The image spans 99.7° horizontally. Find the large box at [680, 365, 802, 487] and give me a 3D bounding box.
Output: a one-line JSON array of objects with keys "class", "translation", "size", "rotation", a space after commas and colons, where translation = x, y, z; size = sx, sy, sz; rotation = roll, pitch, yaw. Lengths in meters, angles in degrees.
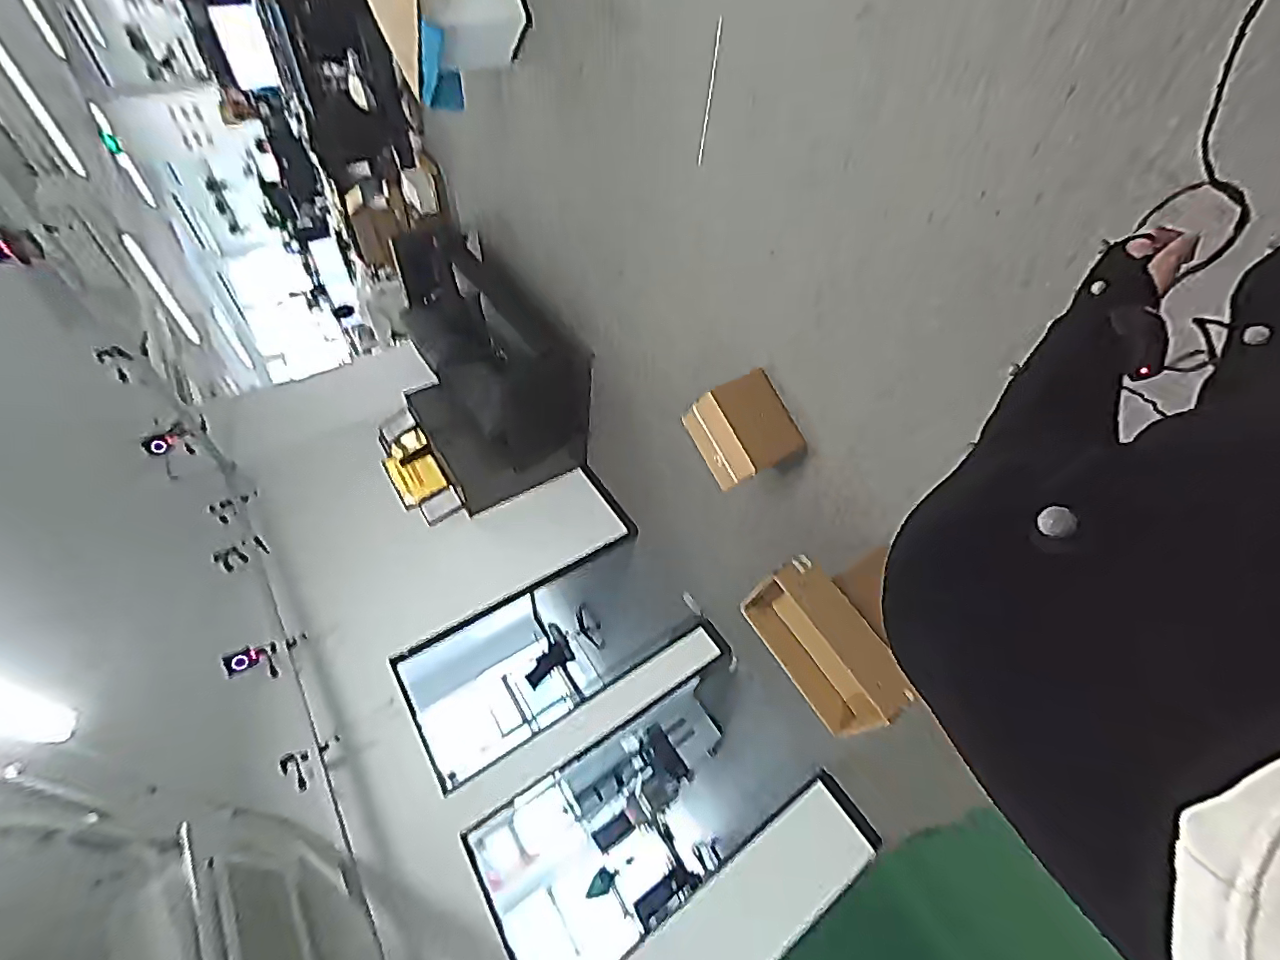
[{"class": "large box", "translation": [0.452, -0.243, 2.461], "size": [0.408, 0.320, 0.320], "rotation": [60, 156, 6]}]
